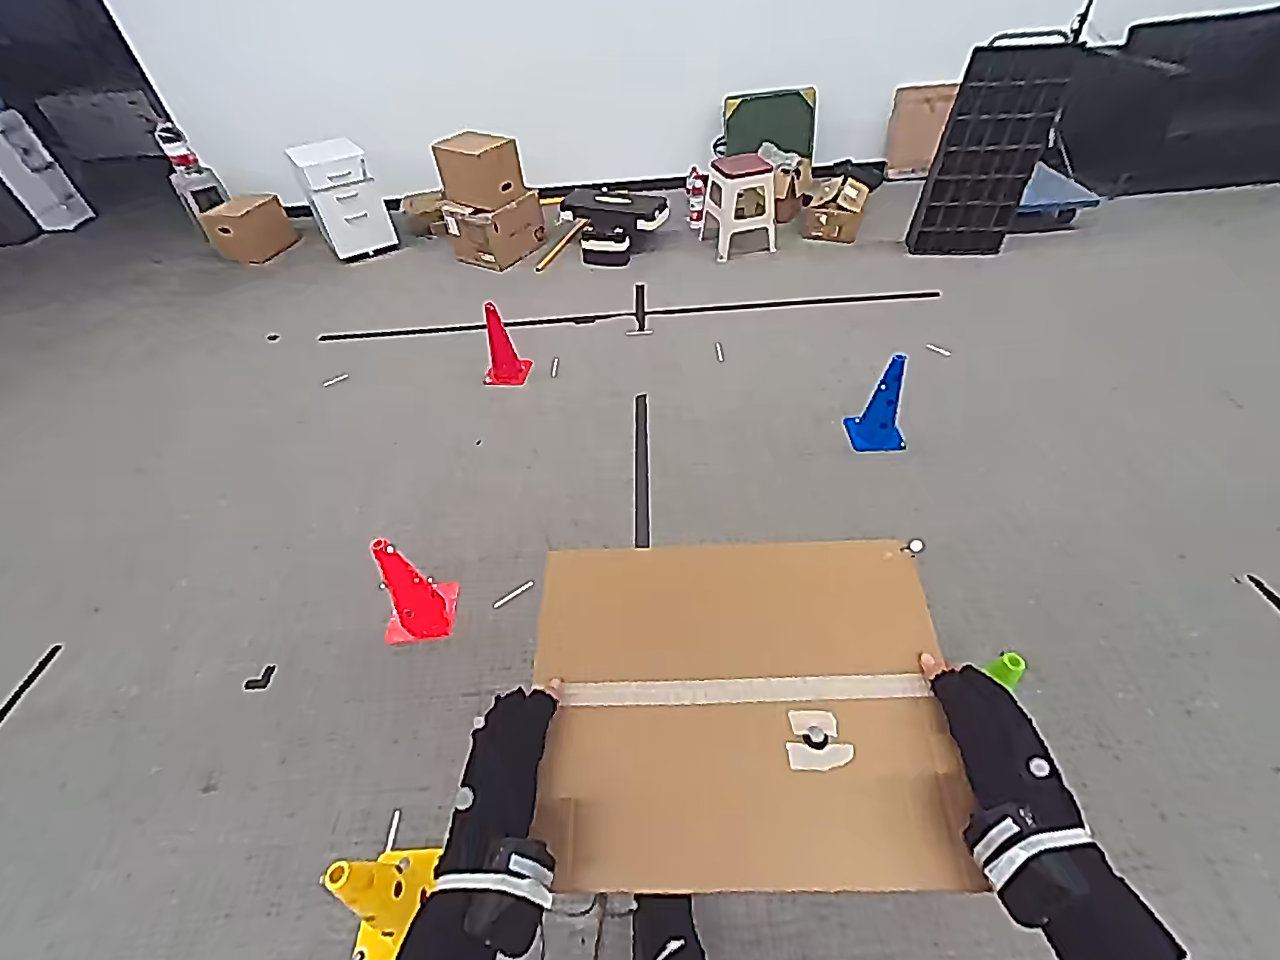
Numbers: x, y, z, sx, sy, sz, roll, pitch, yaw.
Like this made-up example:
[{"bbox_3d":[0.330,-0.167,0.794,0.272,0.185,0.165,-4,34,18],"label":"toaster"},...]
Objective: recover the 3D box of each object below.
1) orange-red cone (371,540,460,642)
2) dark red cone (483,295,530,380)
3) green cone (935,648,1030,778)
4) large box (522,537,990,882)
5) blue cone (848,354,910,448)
[{"bbox_3d":[-0.691,0.298,1.583,0.198,0.360,0.199,-6,47,1],"label":"orange-red cone"},{"bbox_3d":[-0.644,-0.652,2.469,0.201,0.394,0.202,2,46,5],"label":"dark red cone"},{"bbox_3d":[0.796,0.496,1.248,0.202,0.368,0.200,-31,52,-25],"label":"green cone"},{"bbox_3d":[0.100,0.285,0.659,0.408,0.320,0.320,-3,57,3],"label":"large box"},{"bbox_3d":[0.931,-0.304,2.037,0.192,0.380,0.193,0,46,4],"label":"blue cone"}]
